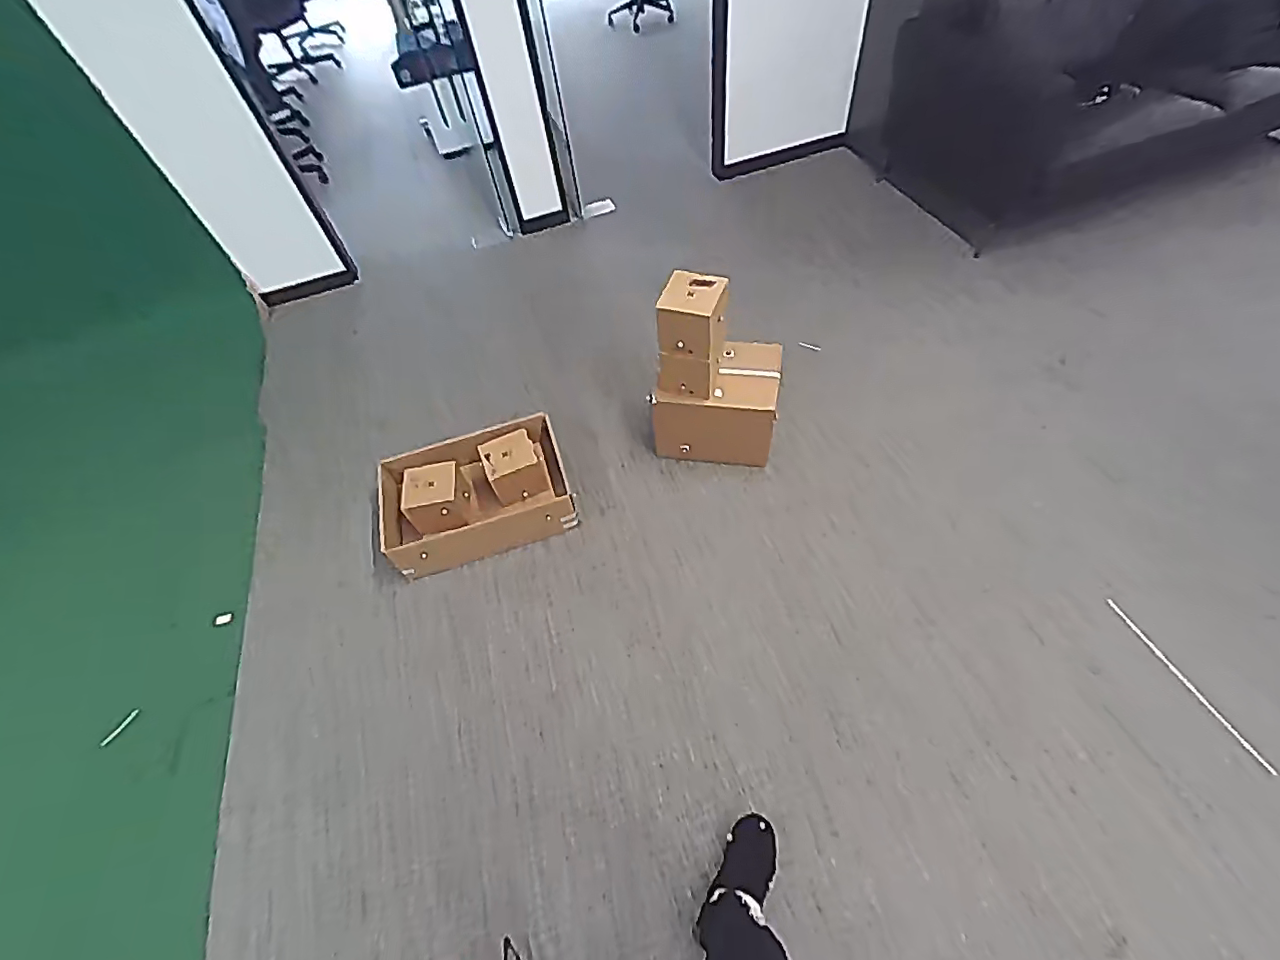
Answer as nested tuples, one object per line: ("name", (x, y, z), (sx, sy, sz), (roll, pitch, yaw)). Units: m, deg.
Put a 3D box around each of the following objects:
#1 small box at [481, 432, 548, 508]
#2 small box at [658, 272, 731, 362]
("small box", (-0.429, -0.031, 1.877), (0.179, 0.176, 0.168), (-22, 55, -8))
("small box", (0.162, -0.481, 1.599), (0.168, 0.176, 0.179), (15, 60, 17))
